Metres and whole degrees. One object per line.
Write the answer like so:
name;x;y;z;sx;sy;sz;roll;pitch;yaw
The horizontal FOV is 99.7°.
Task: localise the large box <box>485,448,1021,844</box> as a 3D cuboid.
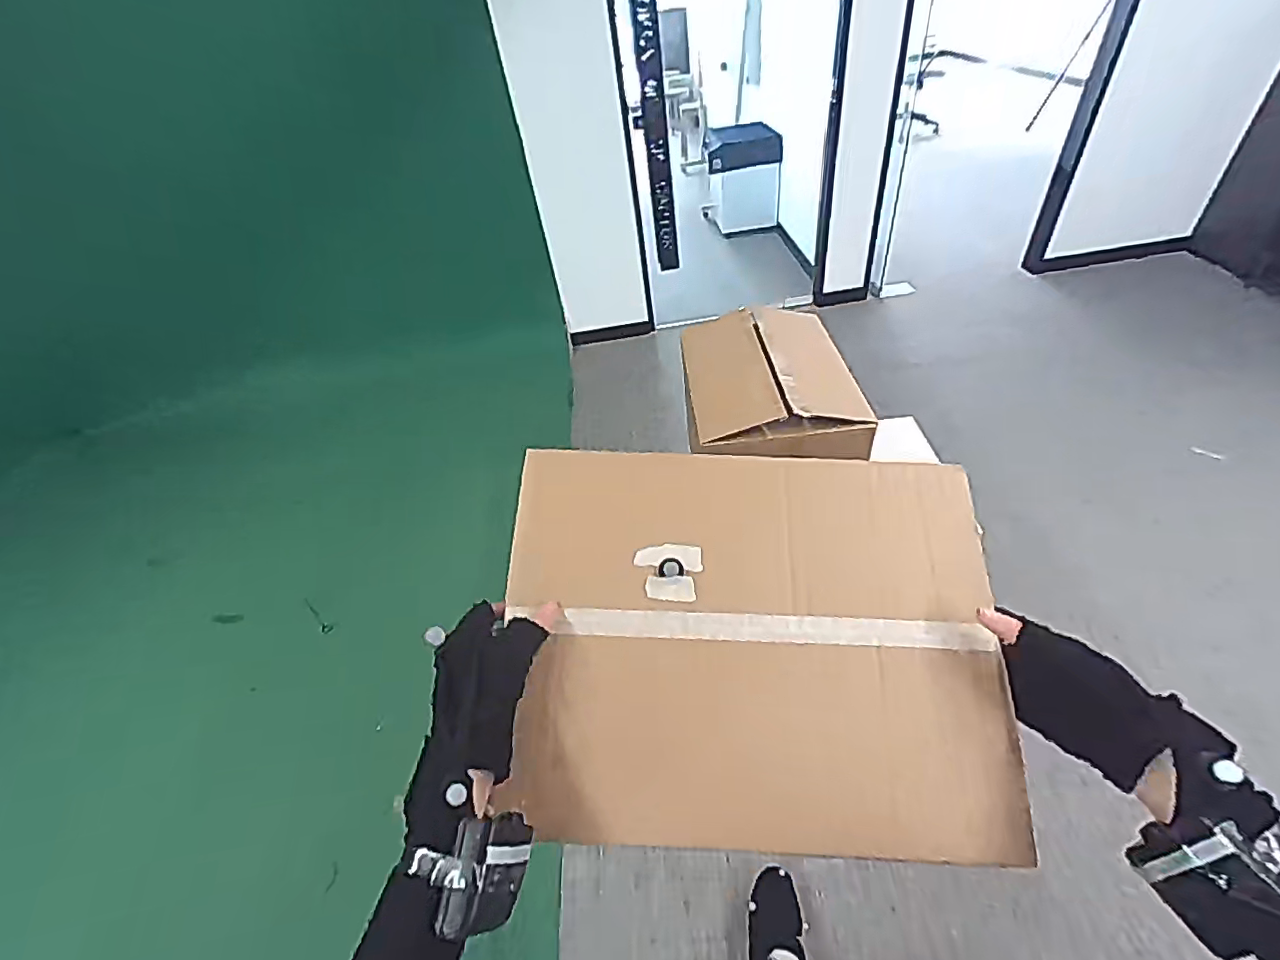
large box;0.092;0.166;0.589;0.408;0.320;0.320;1;69;3
